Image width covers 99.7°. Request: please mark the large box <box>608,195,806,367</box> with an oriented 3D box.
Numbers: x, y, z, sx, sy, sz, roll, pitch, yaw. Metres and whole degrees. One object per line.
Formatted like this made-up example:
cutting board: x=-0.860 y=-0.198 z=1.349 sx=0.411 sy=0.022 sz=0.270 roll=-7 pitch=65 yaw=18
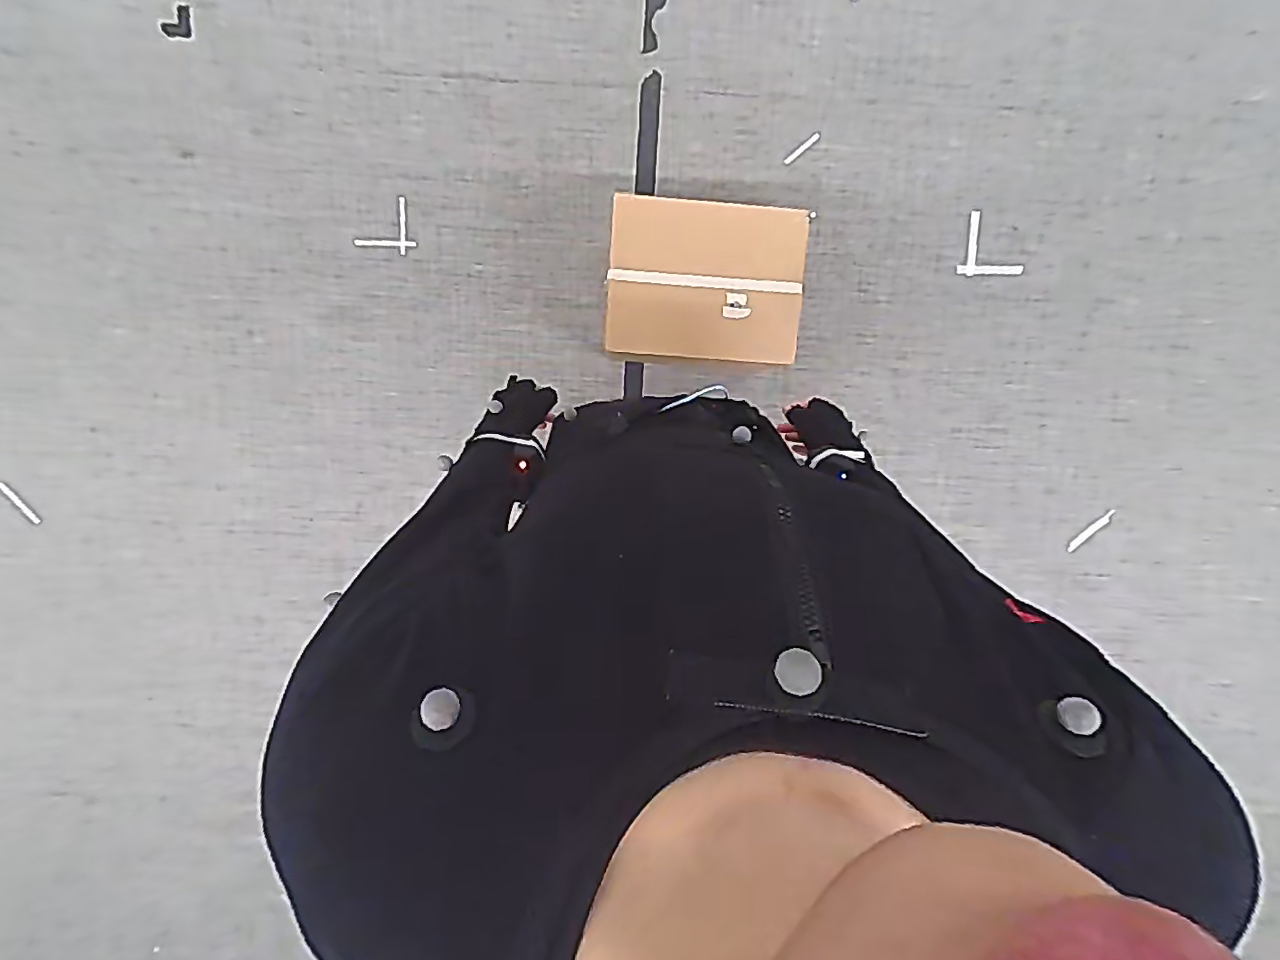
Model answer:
large box: x=0.131 y=-0.442 z=1.280 sx=0.408 sy=0.320 sz=0.320 roll=4 pitch=100 yaw=-3
